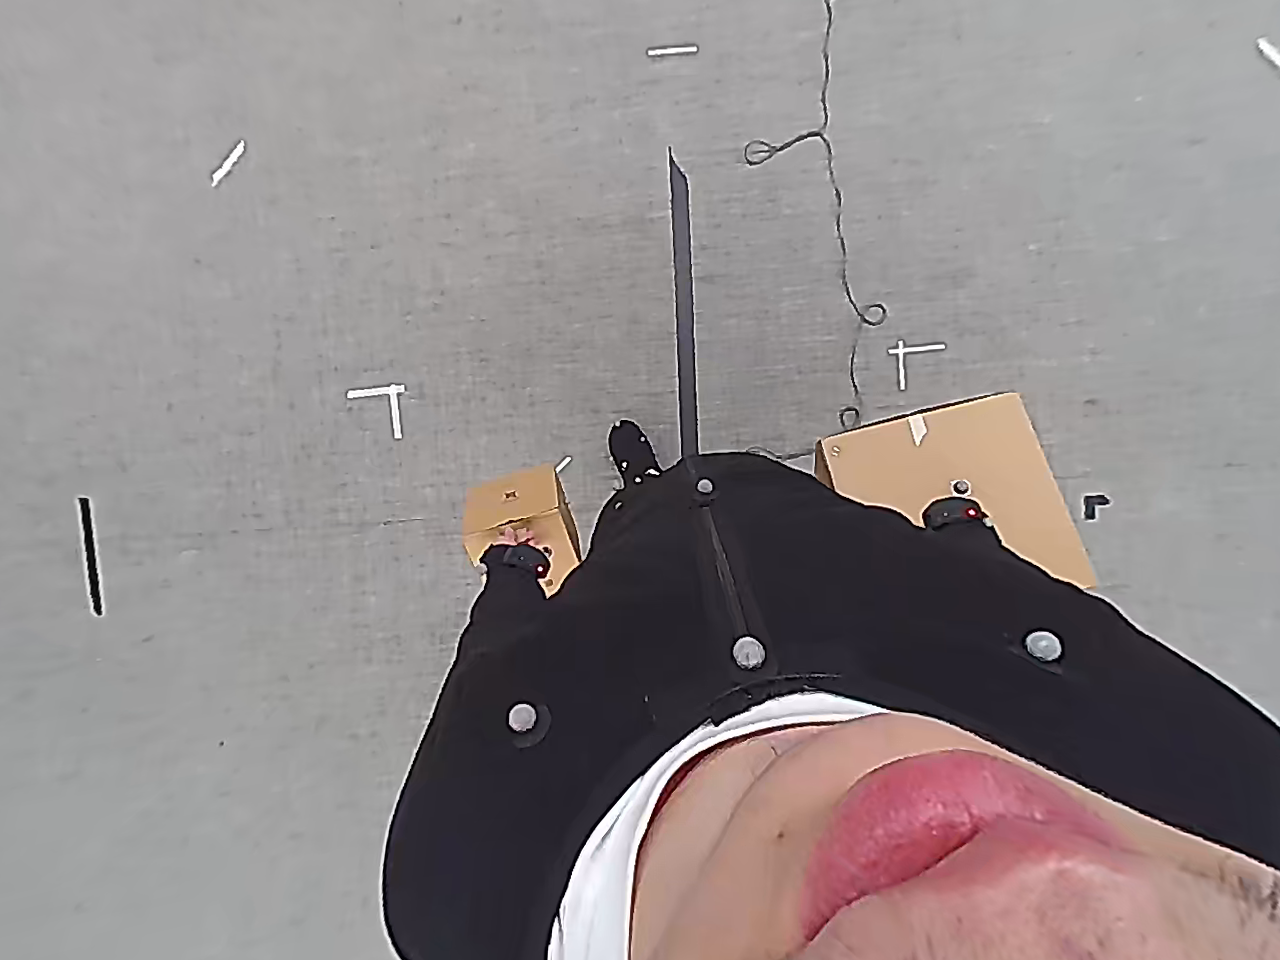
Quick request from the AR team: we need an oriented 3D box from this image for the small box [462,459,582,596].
[{"bbox_3d":[-0.211,0.091,0.994,0.168,0.179,0.176,-16,121,-4],"label":"small box"}]
